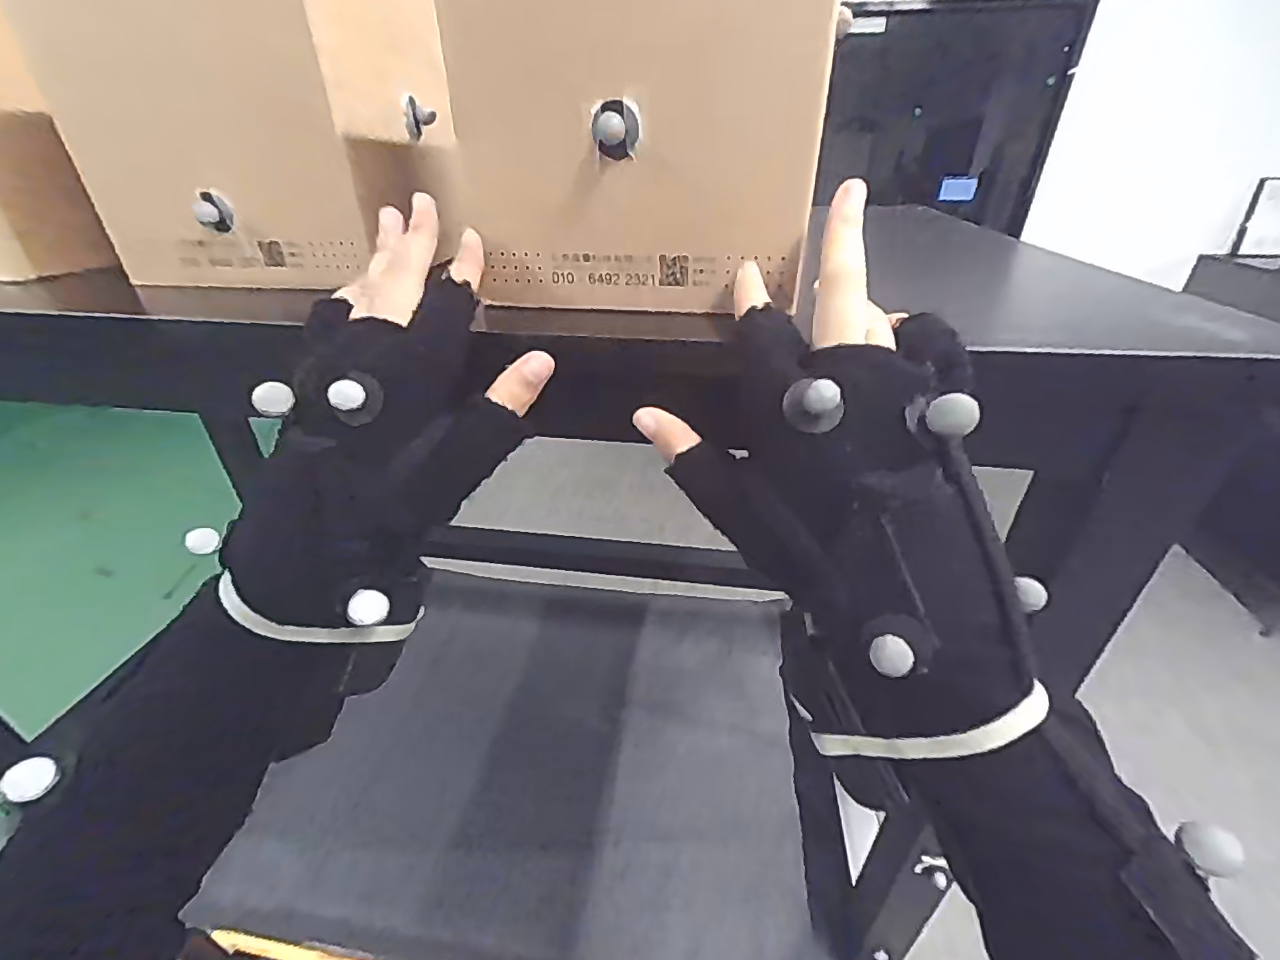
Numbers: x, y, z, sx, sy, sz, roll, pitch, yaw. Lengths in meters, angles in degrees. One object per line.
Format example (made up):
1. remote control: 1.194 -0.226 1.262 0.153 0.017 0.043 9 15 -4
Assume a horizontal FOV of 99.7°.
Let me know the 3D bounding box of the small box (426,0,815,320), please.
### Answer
1. small box: 0.005 -0.197 0.313 0.168 0.176 0.179 5 31 8

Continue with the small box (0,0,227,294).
1. small box: -0.462 -0.238 0.395 0.168 0.176 0.179 5 31 9
